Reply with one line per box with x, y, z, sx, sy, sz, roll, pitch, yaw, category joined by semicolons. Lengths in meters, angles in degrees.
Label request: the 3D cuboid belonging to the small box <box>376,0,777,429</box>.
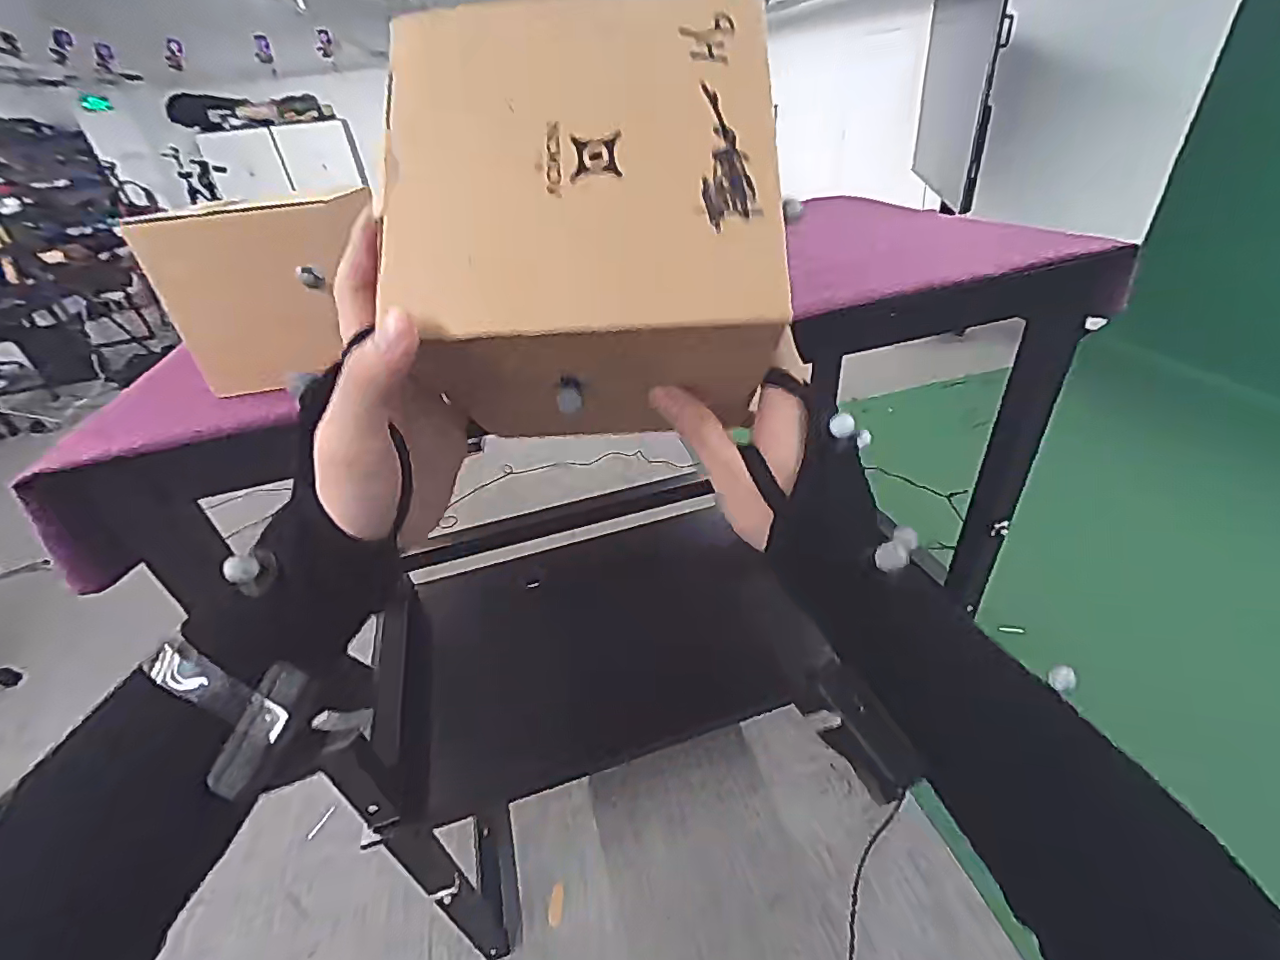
-0.025;-0.131;0.321;0.179;0.168;0.176;-3;-9;4;small box
